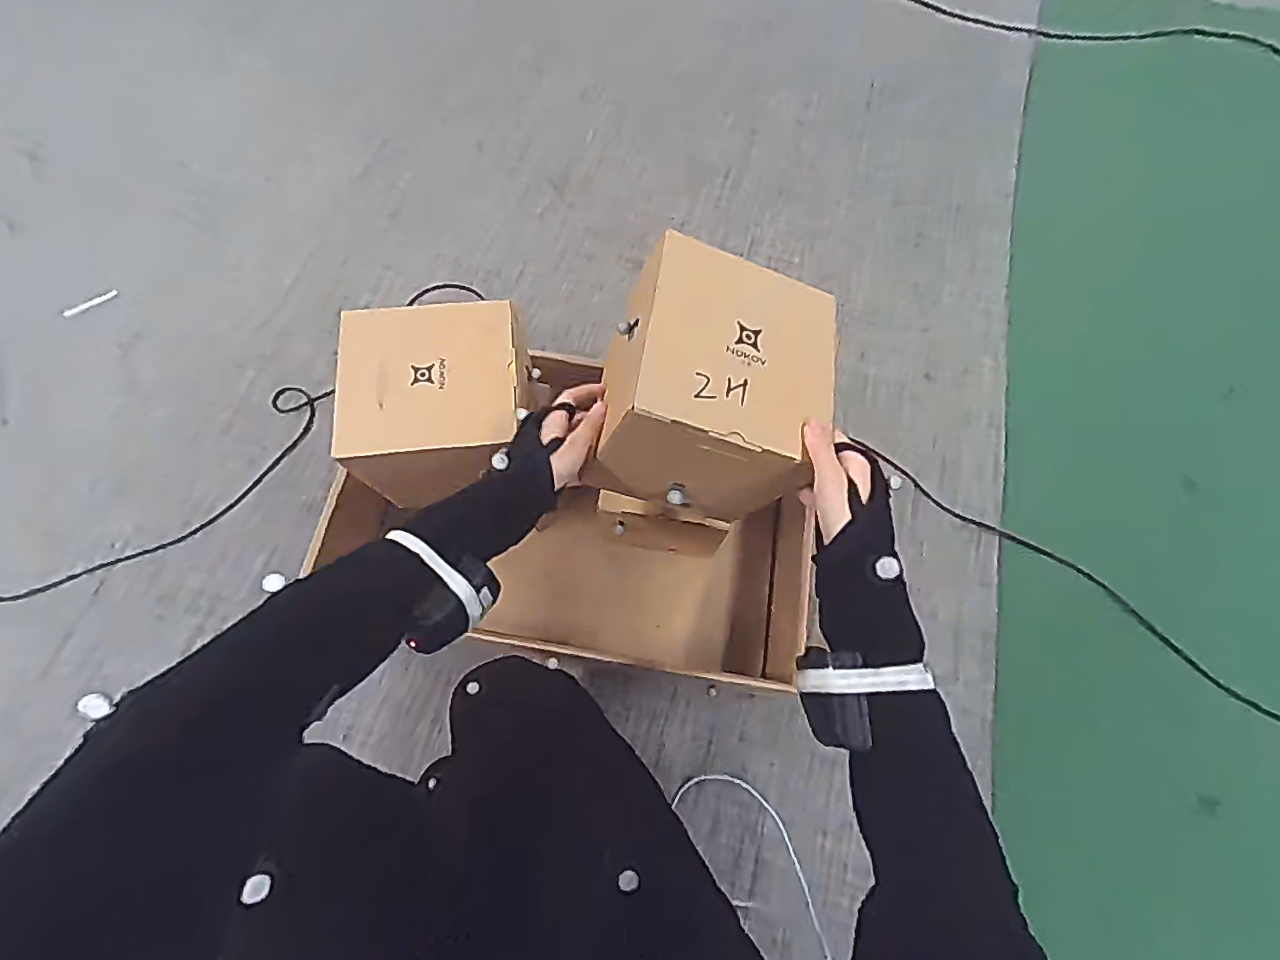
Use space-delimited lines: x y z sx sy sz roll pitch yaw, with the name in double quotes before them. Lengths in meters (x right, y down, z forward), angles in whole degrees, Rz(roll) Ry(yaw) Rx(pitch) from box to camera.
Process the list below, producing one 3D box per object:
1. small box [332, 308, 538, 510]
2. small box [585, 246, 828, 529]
"small box" -0.213 -0.071 0.611 0.179 0.176 0.168 -5 71 -3
"small box" 0.055 -0.072 0.508 0.168 0.176 0.179 15 67 -13
